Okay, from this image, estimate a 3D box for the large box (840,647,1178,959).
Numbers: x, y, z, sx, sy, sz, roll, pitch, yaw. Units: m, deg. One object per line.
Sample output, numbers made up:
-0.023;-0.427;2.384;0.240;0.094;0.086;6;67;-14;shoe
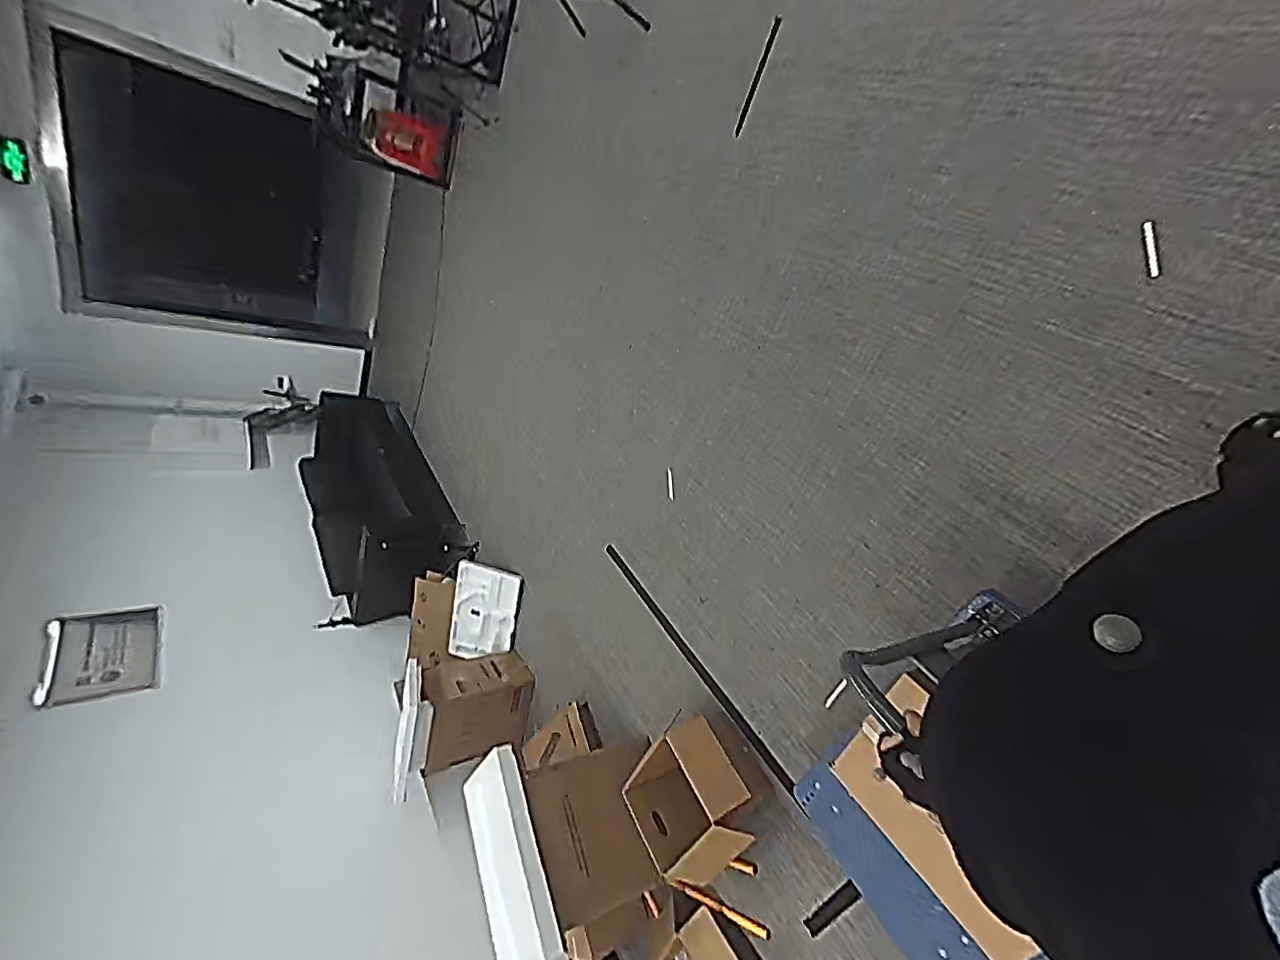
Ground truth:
0.705;0.607;1.075;0.408;0.320;0.320;46;124;42;large box
